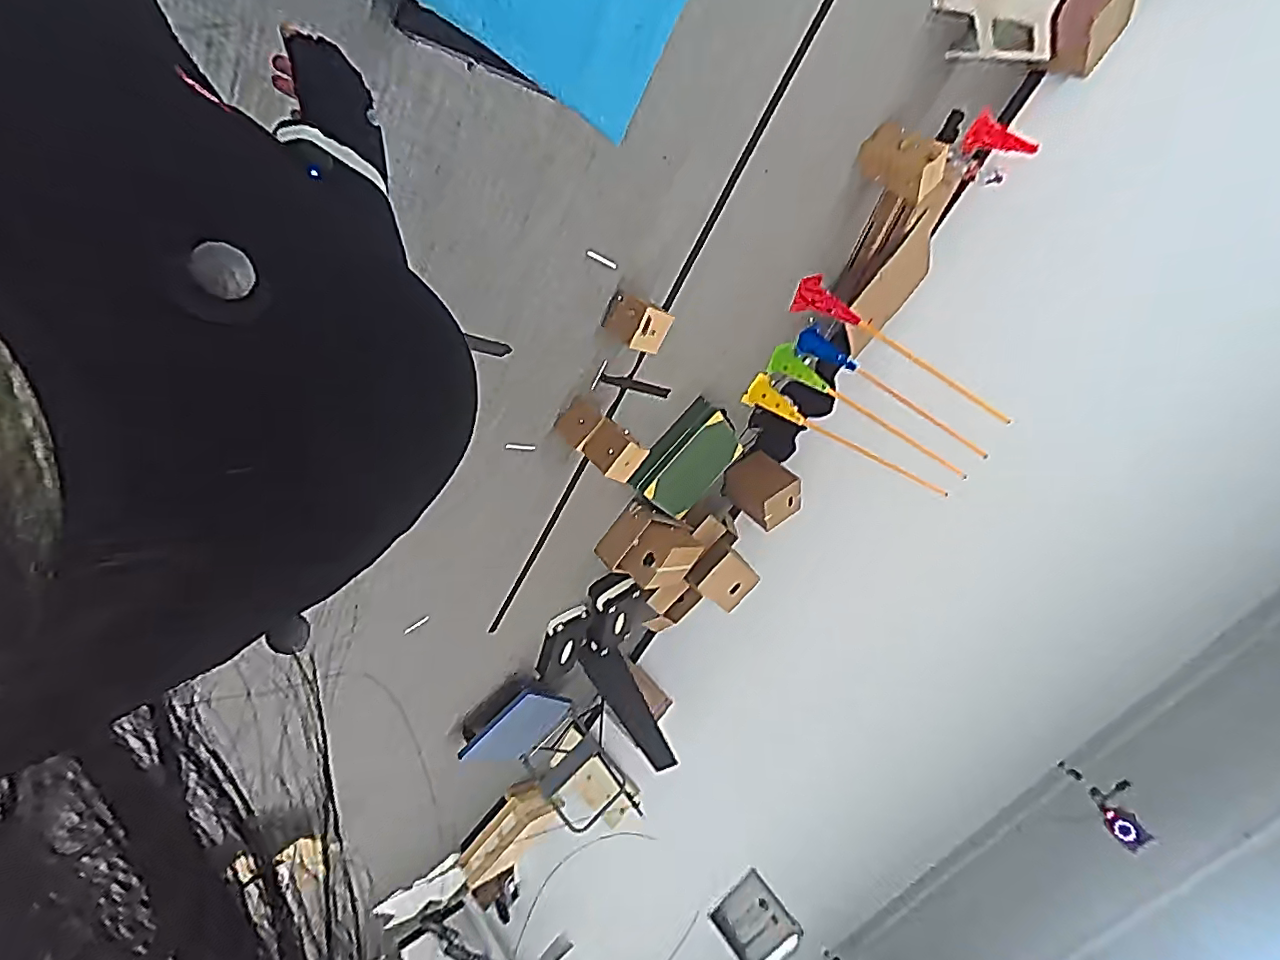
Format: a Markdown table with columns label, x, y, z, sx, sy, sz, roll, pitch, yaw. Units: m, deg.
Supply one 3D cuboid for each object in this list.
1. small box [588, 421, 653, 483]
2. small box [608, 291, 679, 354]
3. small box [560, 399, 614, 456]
| label | x | y | z | sx | sy | sz | roll | pitch | yaw |
| --- | --- | --- | --- | --- | --- | --- | --- | --- | --- |
| small box | -0.084 | -0.119 | 2.237 | 0.179 | 0.176 | 0.168 | -51 | 150 | 10 |
| small box | 0.009 | -0.609 | 2.086 | 0.179 | 0.176 | 0.168 | -2 | 129 | -52 |
| small box | -0.206 | -0.217 | 2.296 | 0.179 | 0.176 | 0.168 | -49 | 151 | 8 |
